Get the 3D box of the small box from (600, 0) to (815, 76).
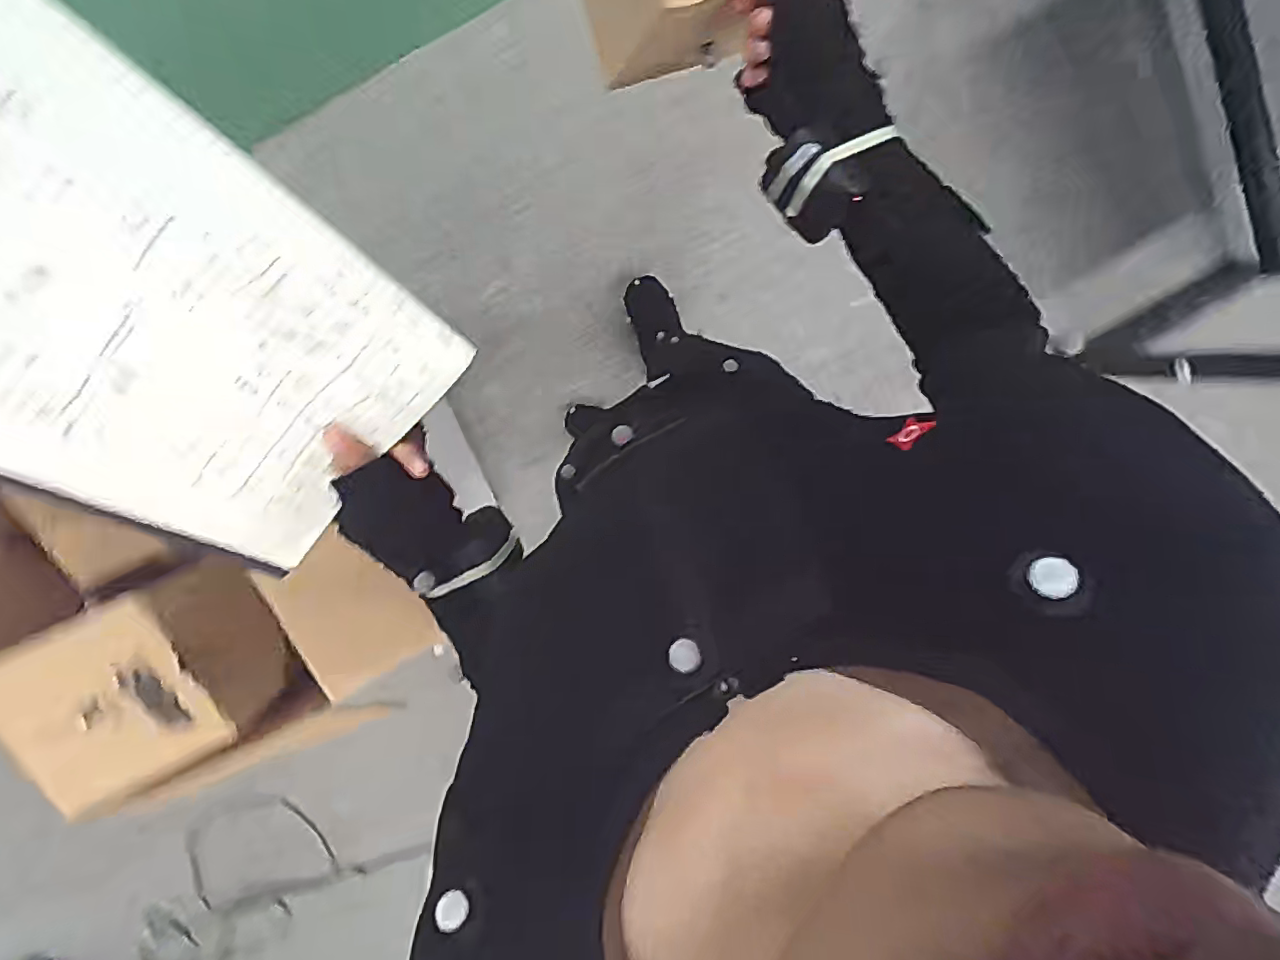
[{"bbox_3d":[0.054,-0.453,0.411,0.168,0.176,0.179,-22,115,-10],"label":"small box"}]
